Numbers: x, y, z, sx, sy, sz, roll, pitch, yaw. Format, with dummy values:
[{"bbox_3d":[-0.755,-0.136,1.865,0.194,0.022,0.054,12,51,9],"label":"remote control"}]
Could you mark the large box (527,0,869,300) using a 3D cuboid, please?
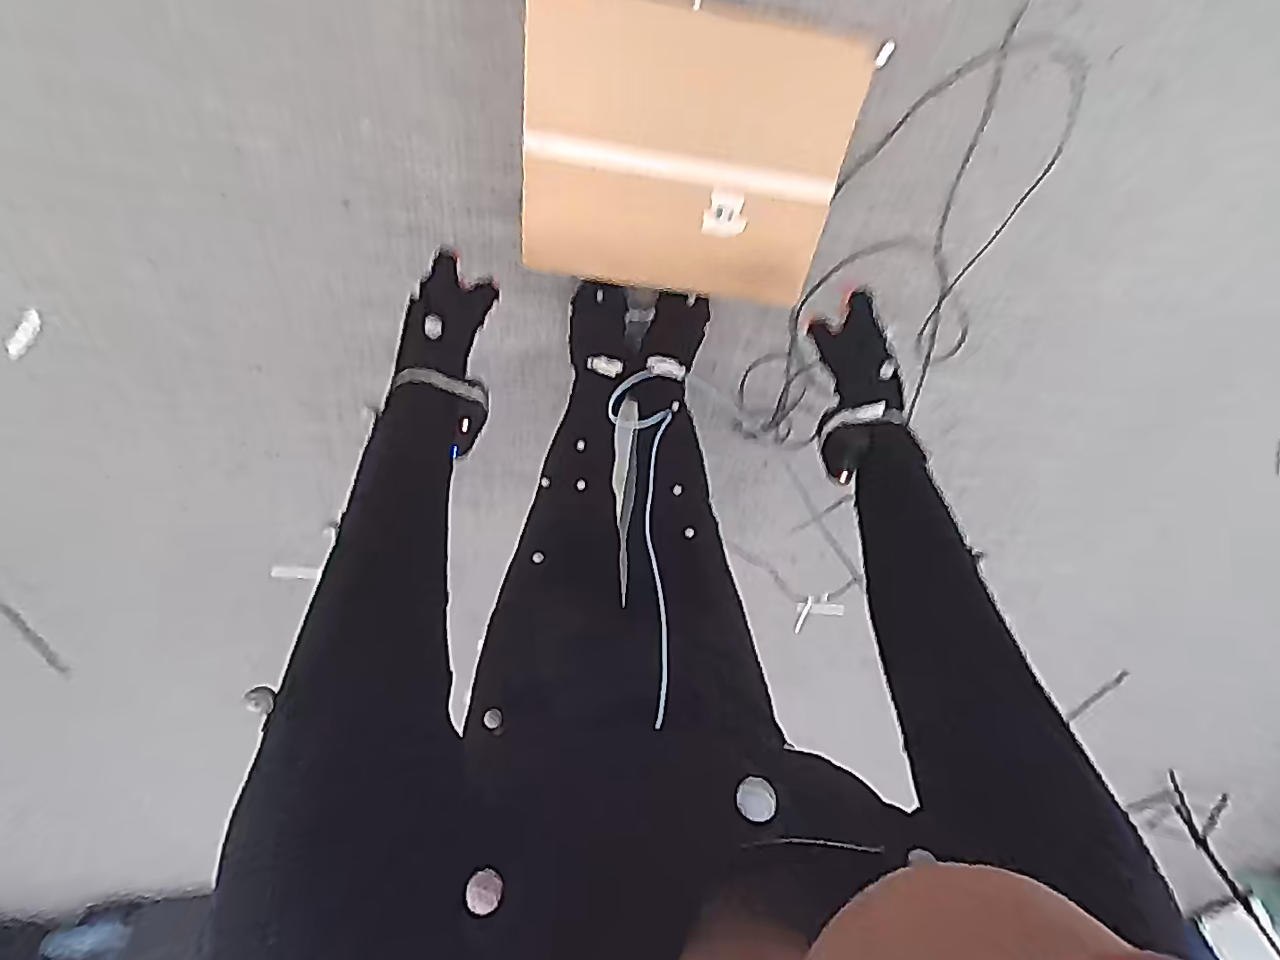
[{"bbox_3d":[0.049,-0.499,0.822,0.408,0.320,0.320,6,128,-6],"label":"large box"}]
